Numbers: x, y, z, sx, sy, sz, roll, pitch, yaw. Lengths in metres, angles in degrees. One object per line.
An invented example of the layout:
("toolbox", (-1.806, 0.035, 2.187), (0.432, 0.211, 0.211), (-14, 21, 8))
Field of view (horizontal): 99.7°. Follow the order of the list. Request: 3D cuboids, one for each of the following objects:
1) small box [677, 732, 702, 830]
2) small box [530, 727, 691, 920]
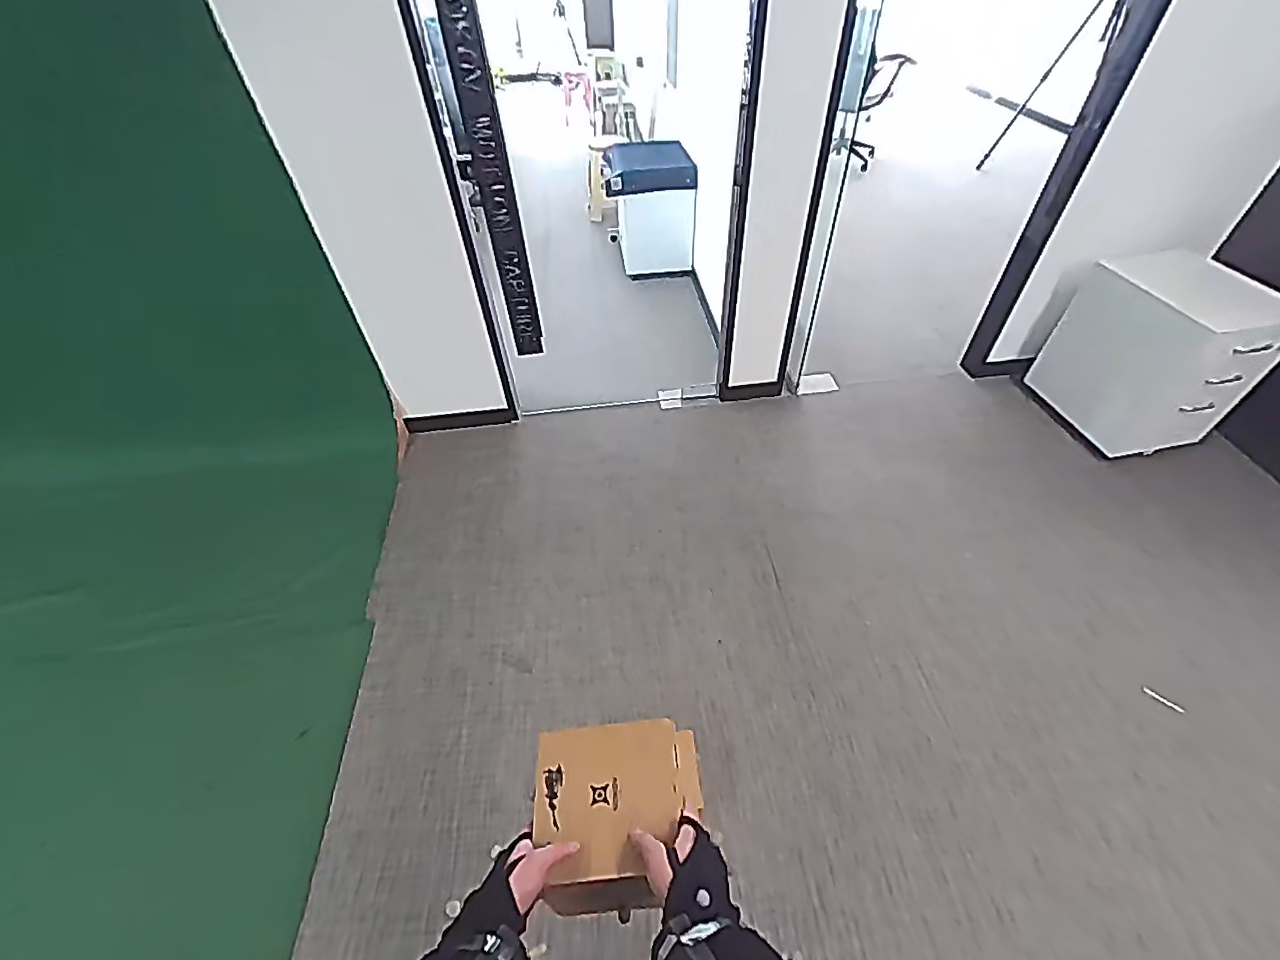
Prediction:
("small box", (0.057, 0.745, 1.330), (0.168, 0.176, 0.179), (-5, 47, 0))
("small box", (-0.030, 0.436, 0.688), (0.179, 0.176, 0.168), (-6, 42, 1))
